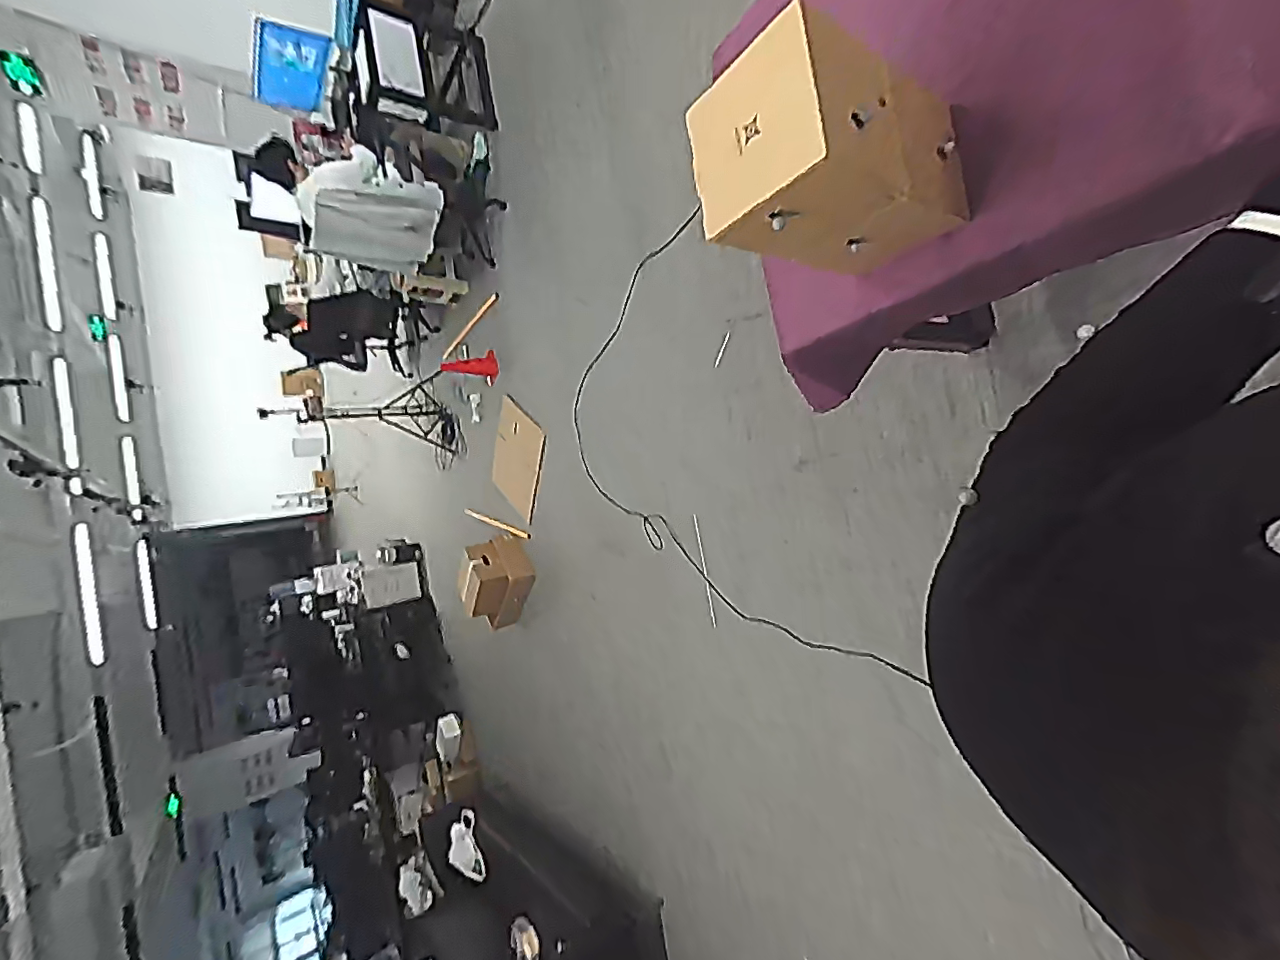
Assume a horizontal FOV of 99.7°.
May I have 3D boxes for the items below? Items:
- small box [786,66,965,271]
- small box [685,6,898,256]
[{"bbox_3d":[0.311,-0.407,0.747,0.179,0.176,0.168,-12,87,53],"label":"small box"},{"bbox_3d":[0.184,-0.391,0.646,0.179,0.176,0.168,-13,86,54],"label":"small box"}]
